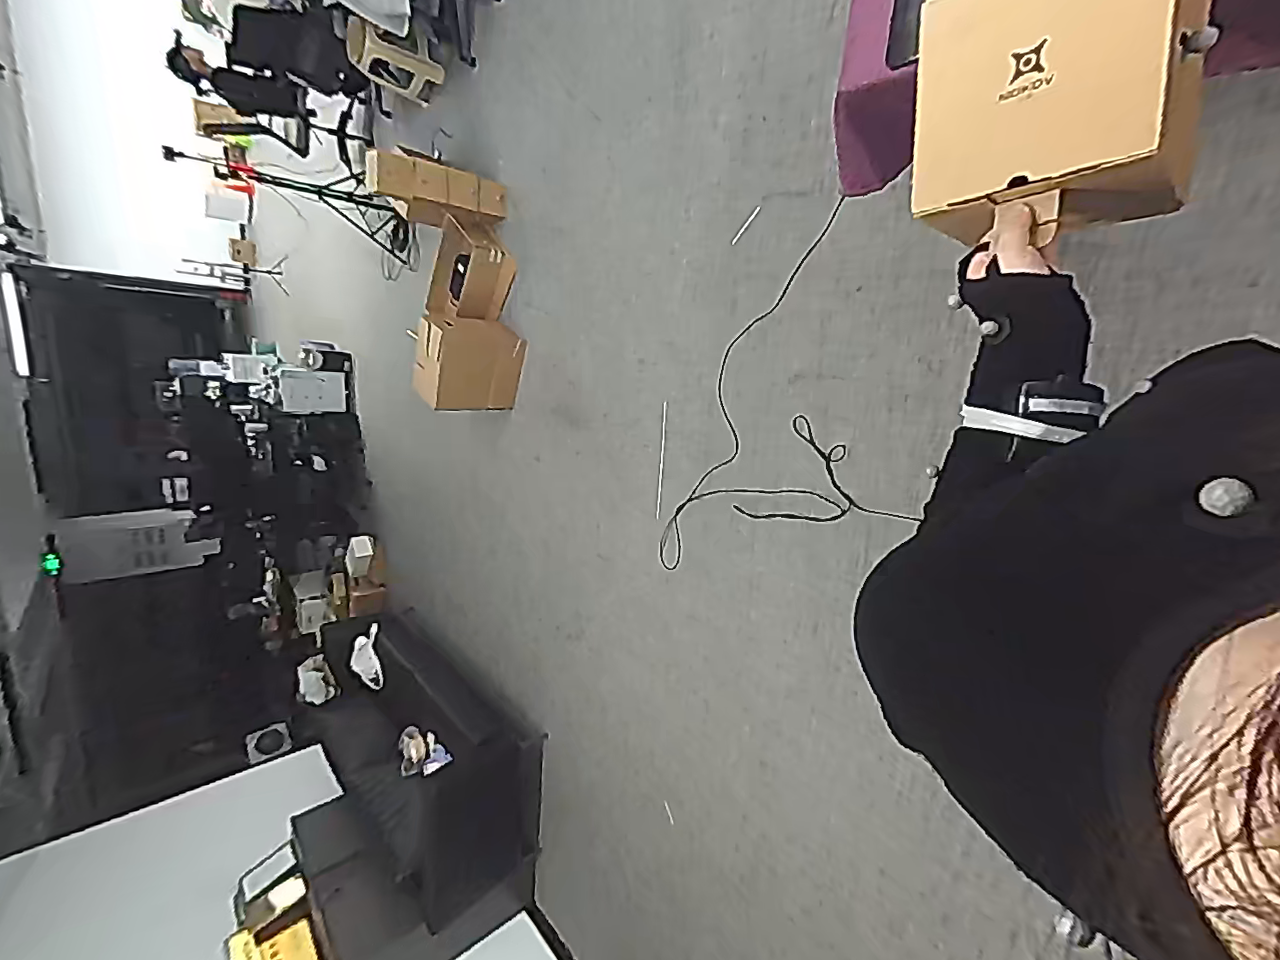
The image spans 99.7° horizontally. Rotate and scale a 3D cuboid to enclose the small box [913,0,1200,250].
[{"bbox_3d":[0.360,-0.321,0.471,0.168,0.176,0.179,8,102,47],"label":"small box"}]
